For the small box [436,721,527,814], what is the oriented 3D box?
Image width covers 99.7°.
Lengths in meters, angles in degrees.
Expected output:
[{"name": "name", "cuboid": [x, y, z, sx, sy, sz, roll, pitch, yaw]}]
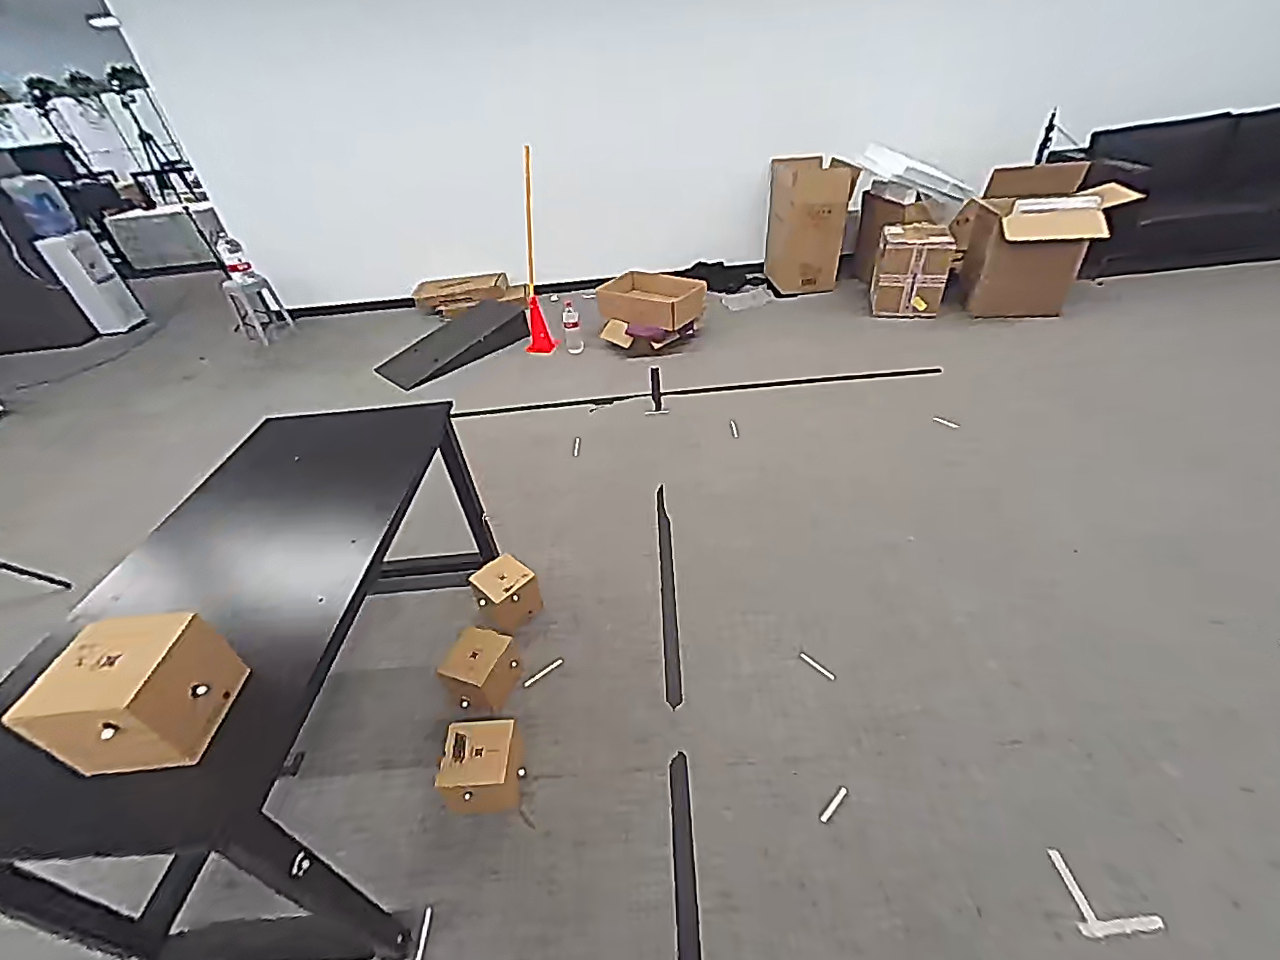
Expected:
[{"name": "small box", "cuboid": [-0.412, 0.765, 1.436, 0.179, 0.176, 0.168, -4, 38, 1]}]

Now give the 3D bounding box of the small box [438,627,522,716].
[{"name": "small box", "cuboid": [-0.484, 0.591, 1.672, 0.168, 0.176, 0.179, 8, 41, 19]}]

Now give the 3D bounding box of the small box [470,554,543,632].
[{"name": "small box", "cuboid": [-0.468, 0.400, 1.907, 0.179, 0.176, 0.168, 26, 49, 35]}]

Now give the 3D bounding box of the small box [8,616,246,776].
[{"name": "small box", "cuboid": [-0.774, 0.338, 0.847, 0.179, 0.176, 0.168, -7, 37, 1]}]
